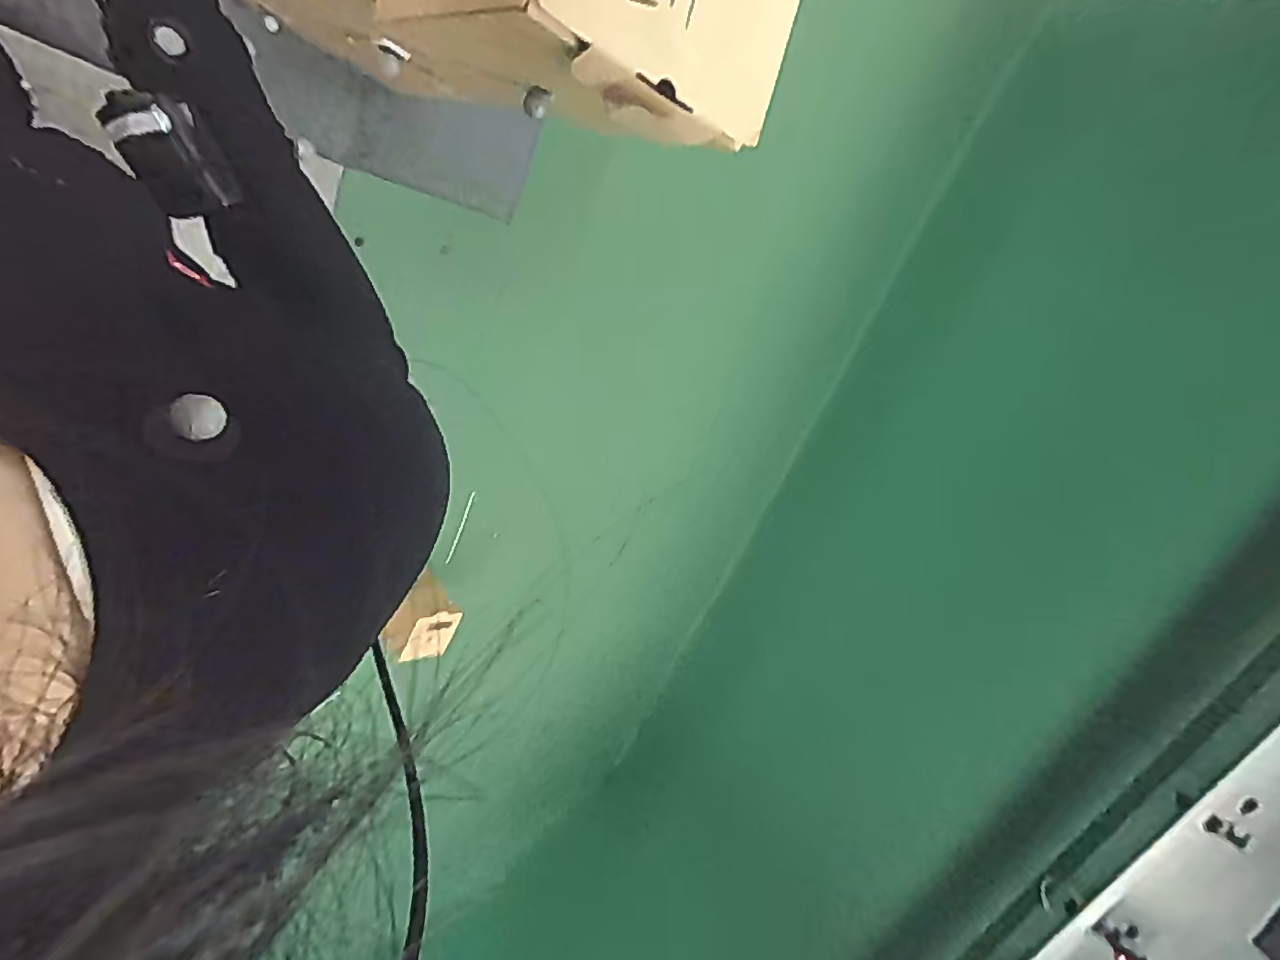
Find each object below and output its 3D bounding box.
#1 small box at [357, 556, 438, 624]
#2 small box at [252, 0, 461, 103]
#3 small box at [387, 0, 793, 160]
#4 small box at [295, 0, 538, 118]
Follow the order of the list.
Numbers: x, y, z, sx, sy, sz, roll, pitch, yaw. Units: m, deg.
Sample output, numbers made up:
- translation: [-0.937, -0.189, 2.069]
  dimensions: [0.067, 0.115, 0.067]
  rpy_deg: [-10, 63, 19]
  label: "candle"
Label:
- translation: [-0.846, 0.378, 1.874]
  dimensions: [0.179, 0.176, 0.168]
  rpy_deg: [14, 110, -55]
  label: "small box"
- translation: [-0.239, -0.477, 0.479]
  dimensions: [0.168, 0.176, 0.179]
  rpy_deg: [2, 116, -51]
  label: "small box"
- translation: [-0.023, -0.310, 0.299]
  dimensions: [0.168, 0.176, 0.179]
  rpy_deg: [-5, 122, -46]
  label: "small box"
- translation: [-0.133, -0.396, 0.387]
  dimensions: [0.168, 0.176, 0.179]
  rpy_deg: [-1, 120, -49]
  label: "small box"
